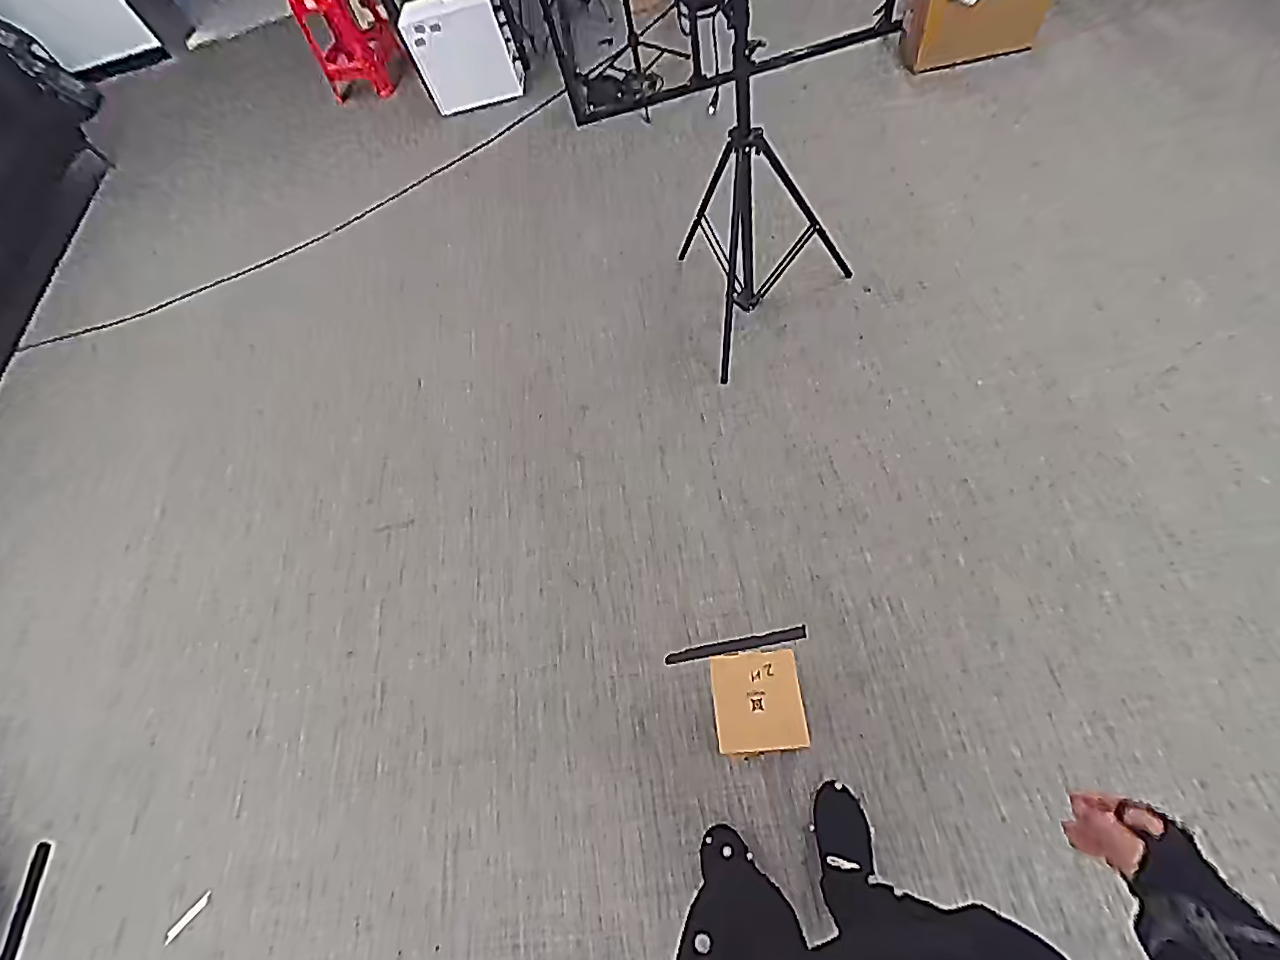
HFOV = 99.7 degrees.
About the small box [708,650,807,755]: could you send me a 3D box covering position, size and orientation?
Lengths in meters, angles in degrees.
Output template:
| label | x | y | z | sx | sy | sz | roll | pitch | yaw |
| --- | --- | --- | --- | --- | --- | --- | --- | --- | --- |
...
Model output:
| label | x | y | z | sx | sy | sz | roll | pitch | yaw |
| --- | --- | --- | --- | --- | --- | --- | --- | --- | --- |
| small box | 0.235 | 0.450 | 1.086 | 0.168 | 0.176 | 0.179 | -8 | 61 | 8 |
